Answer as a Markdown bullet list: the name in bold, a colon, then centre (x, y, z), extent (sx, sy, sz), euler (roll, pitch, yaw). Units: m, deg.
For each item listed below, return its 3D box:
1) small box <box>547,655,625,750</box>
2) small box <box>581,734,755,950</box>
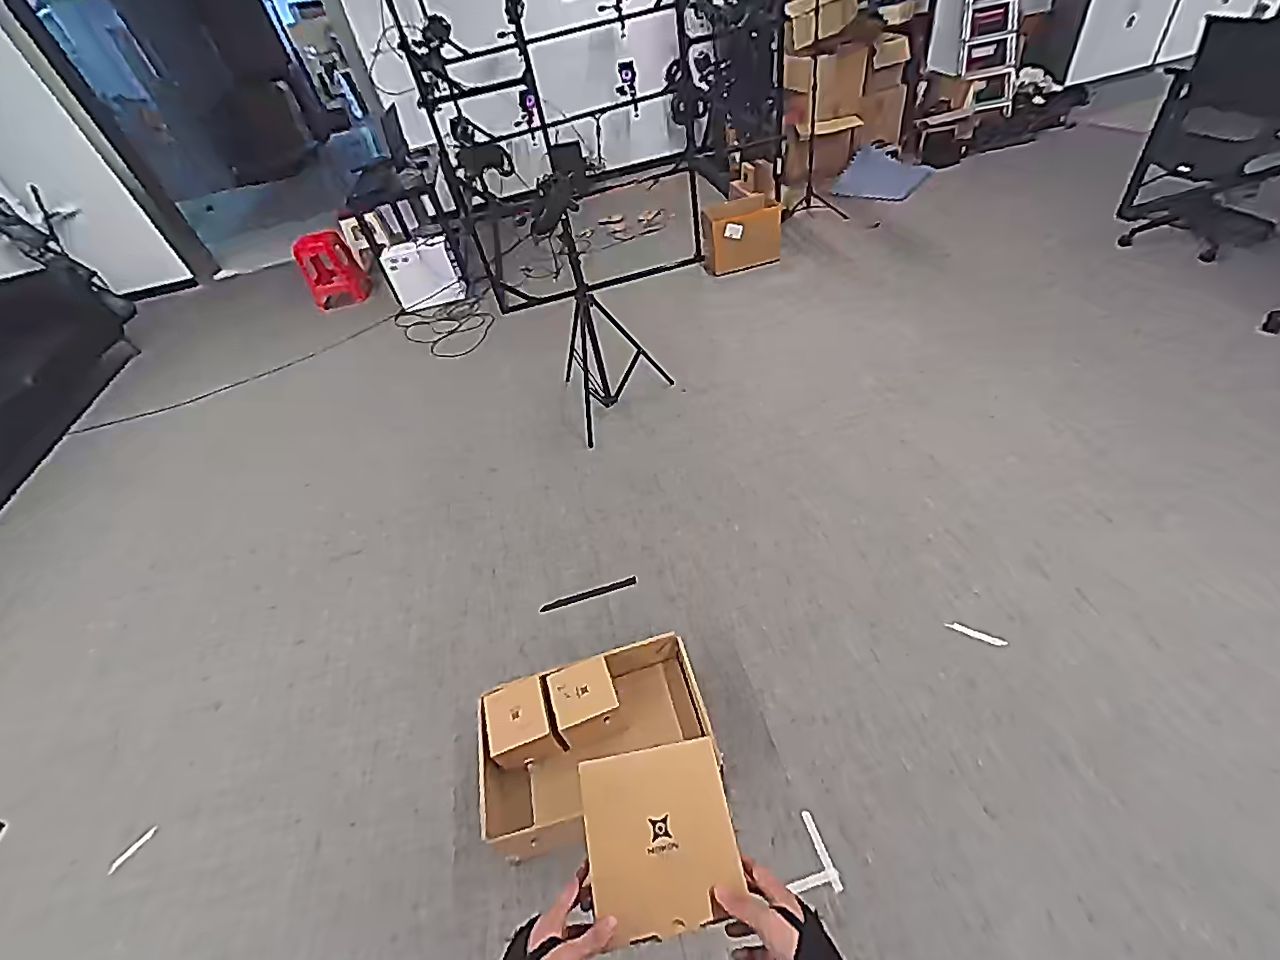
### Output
- **small box**: centre (-0.149, 0.638, 1.546), extent (0.179, 0.176, 0.168), euler (-20, 45, -8)
- **small box**: centre (0.019, 0.433, 0.658), extent (0.168, 0.176, 0.179), euler (-7, 56, -10)
